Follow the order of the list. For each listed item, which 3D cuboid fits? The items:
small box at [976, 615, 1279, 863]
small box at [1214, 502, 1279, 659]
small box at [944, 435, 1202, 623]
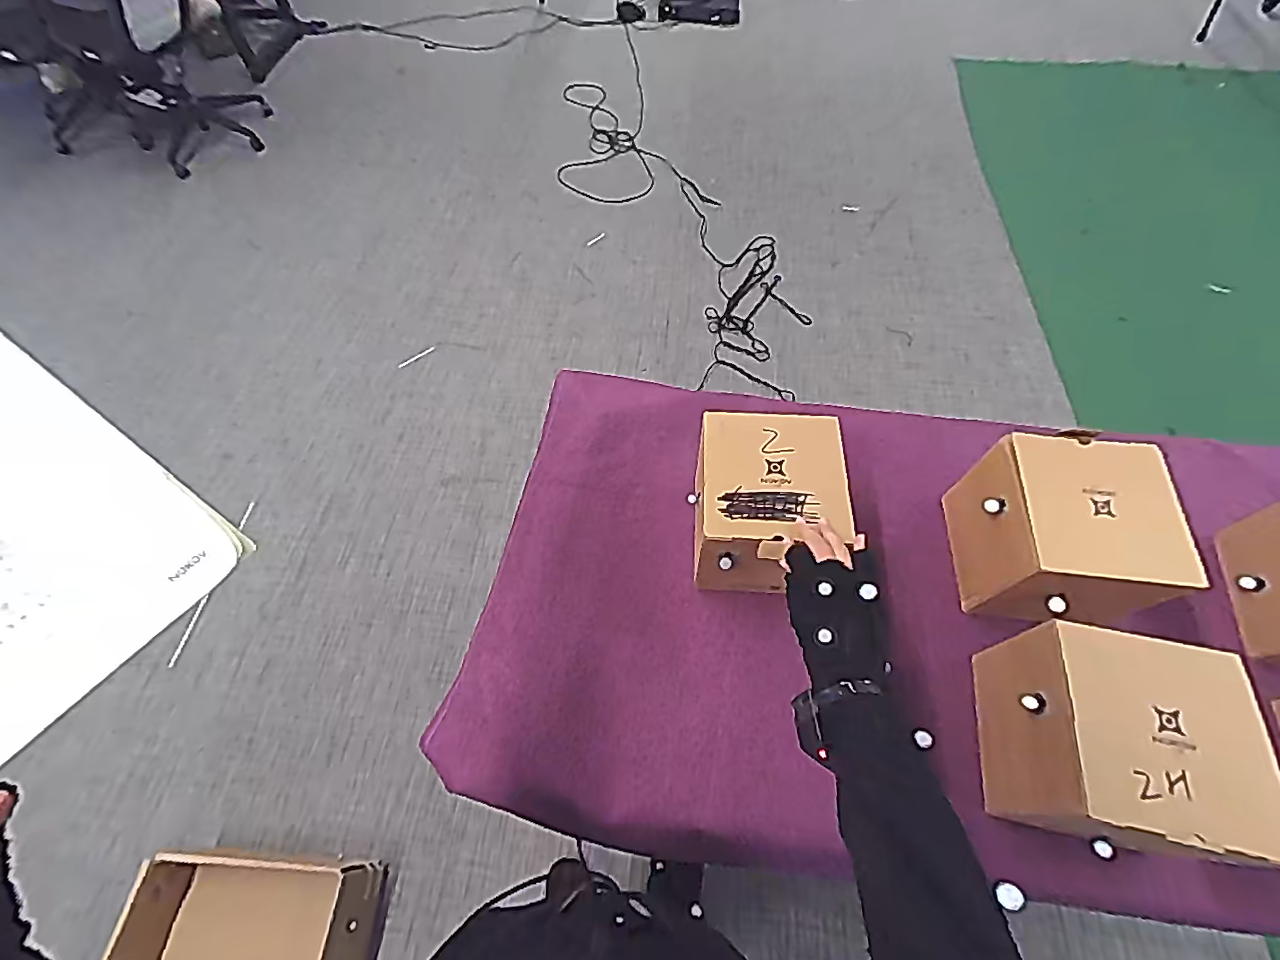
[{"bbox_3d":[0.471,0.261,0.551,0.168,0.176,0.179,10,60,8],"label":"small box"},{"bbox_3d":[0.839,0.122,0.623,0.168,0.176,0.179,12,61,8],"label":"small box"},{"bbox_3d":[0.505,0.068,0.667,0.168,0.176,0.179,5,60,5],"label":"small box"}]
